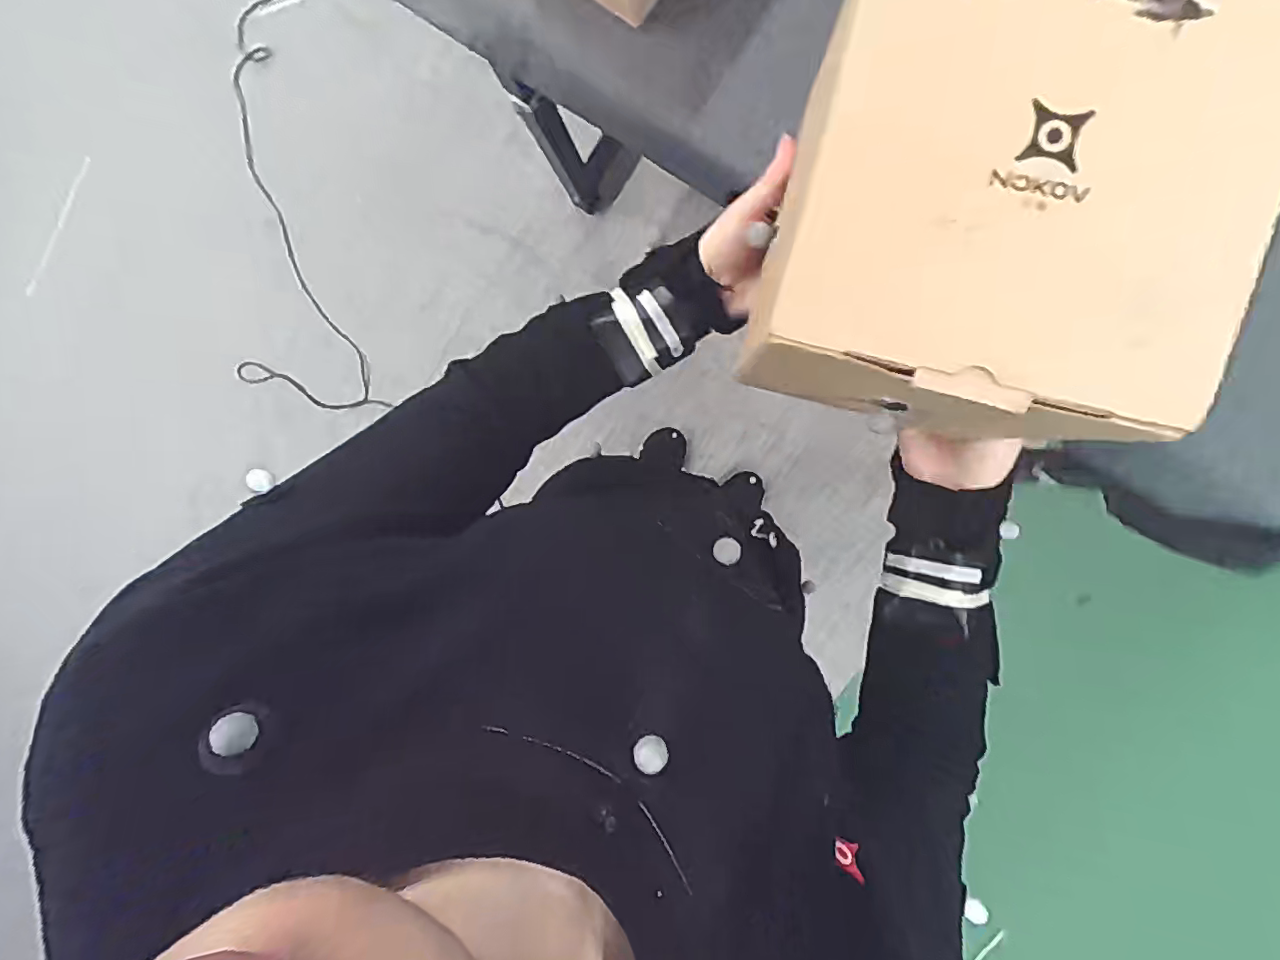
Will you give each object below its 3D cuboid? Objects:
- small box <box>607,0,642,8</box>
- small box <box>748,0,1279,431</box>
[{"bbox_3d":[-0.028,-0.611,0.509,0.179,0.176,0.168,38,96,3],"label":"small box"},{"bbox_3d":[0.160,-0.129,0.283,0.168,0.176,0.179,15,96,4],"label":"small box"}]
